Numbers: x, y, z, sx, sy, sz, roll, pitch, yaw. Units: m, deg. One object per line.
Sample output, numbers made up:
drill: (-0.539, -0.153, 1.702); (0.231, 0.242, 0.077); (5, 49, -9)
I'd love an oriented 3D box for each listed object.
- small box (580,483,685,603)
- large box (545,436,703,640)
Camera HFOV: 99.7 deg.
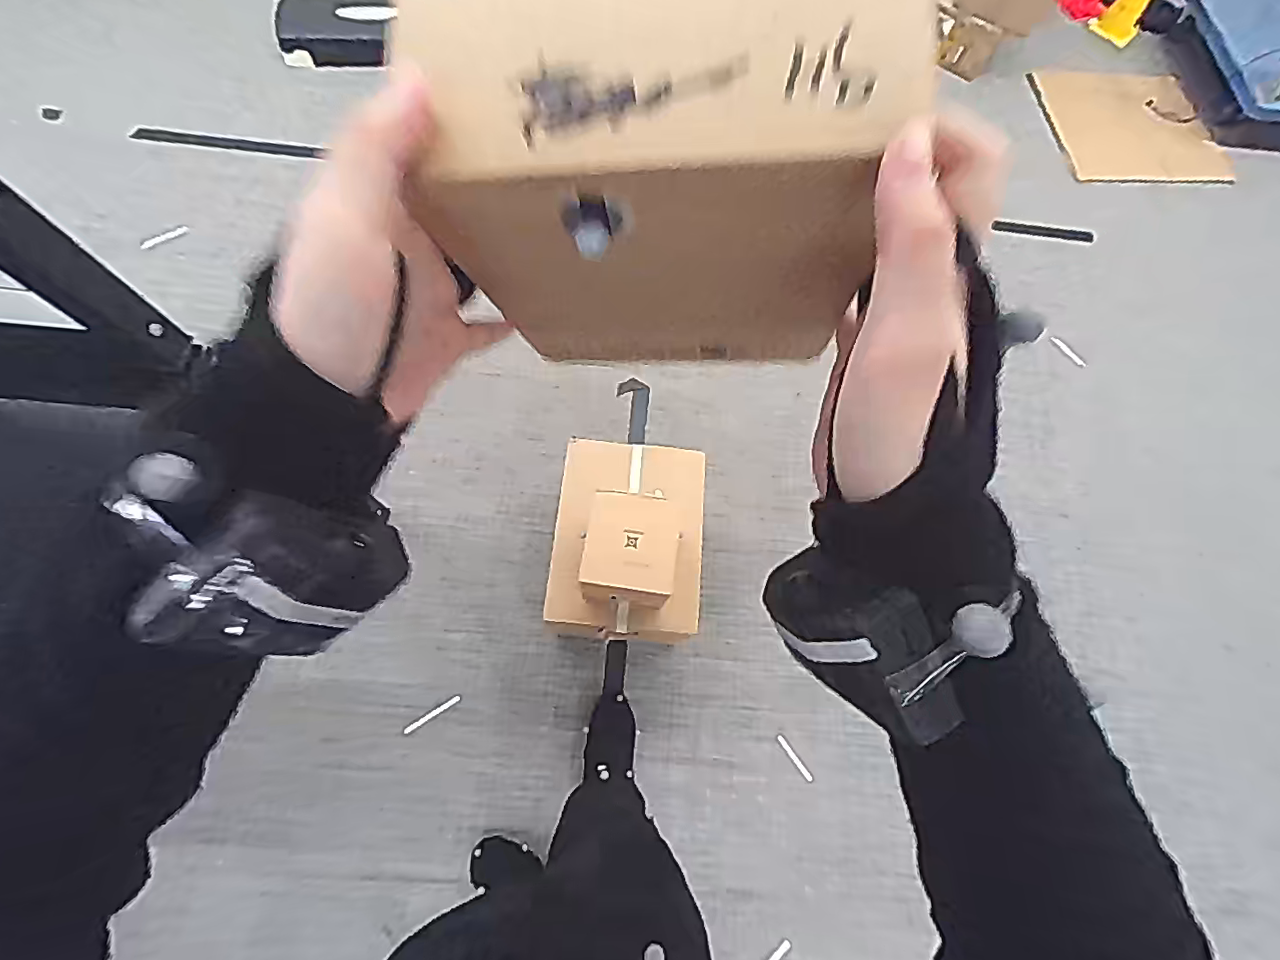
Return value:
small box: (-0.017, 0.125, 1.029); (0.168, 0.176, 0.179); (9, 69, 0)
large box: (-0.034, 0.154, 1.280); (0.320, 0.320, 0.408); (6, 68, -3)
